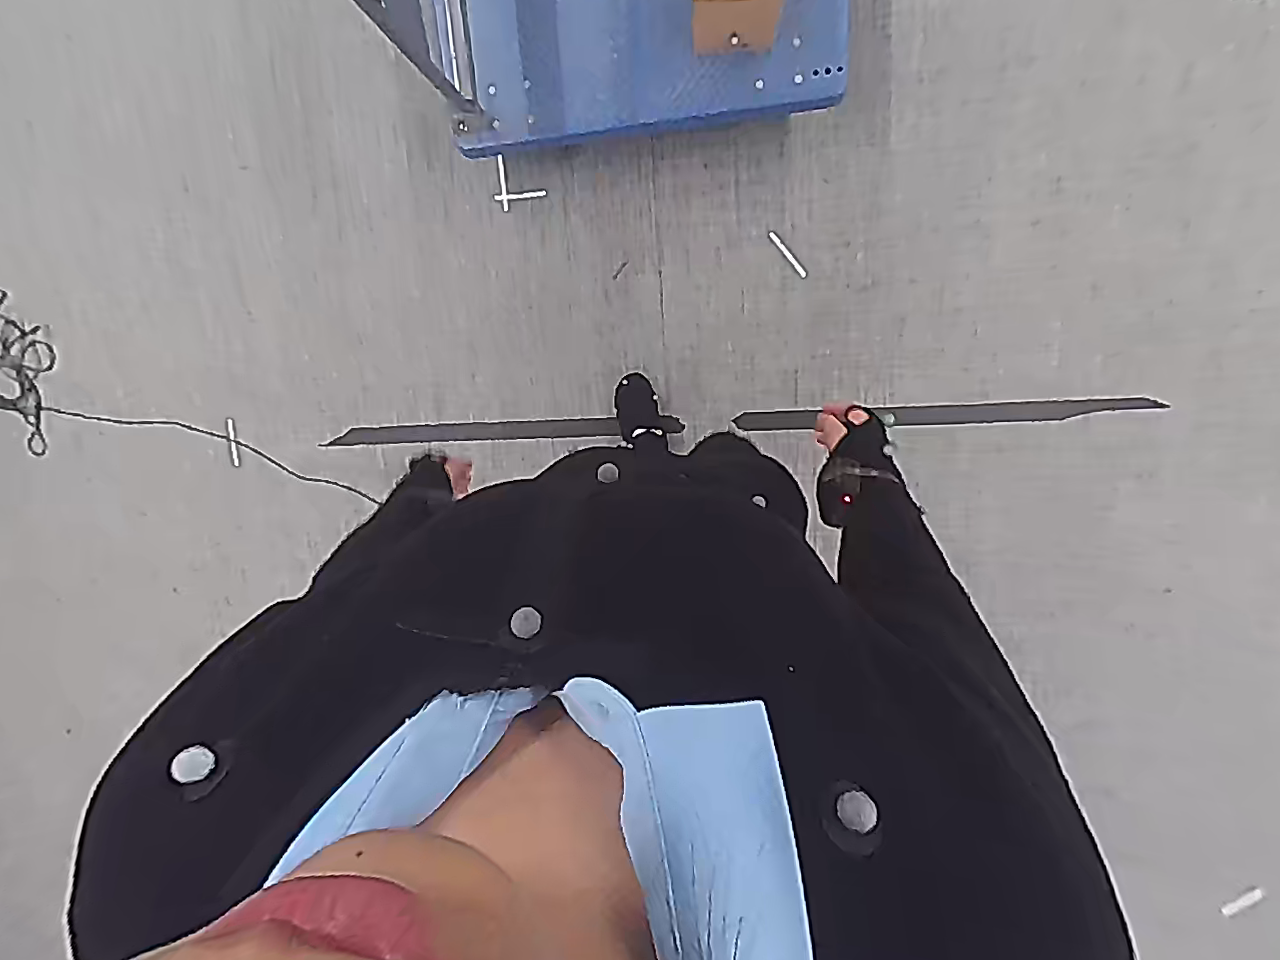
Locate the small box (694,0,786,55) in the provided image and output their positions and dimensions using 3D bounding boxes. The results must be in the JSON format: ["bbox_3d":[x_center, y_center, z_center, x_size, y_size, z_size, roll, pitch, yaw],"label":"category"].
[{"bbox_3d":[0.189,-0.966,1.037,0.168,0.176,0.179,0,99,6],"label":"small box"}]

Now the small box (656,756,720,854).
[{"bbox_3d":[0.139,0.913,1.527,0.168,0.176,0.179,-4,98,6],"label":"small box"}]
